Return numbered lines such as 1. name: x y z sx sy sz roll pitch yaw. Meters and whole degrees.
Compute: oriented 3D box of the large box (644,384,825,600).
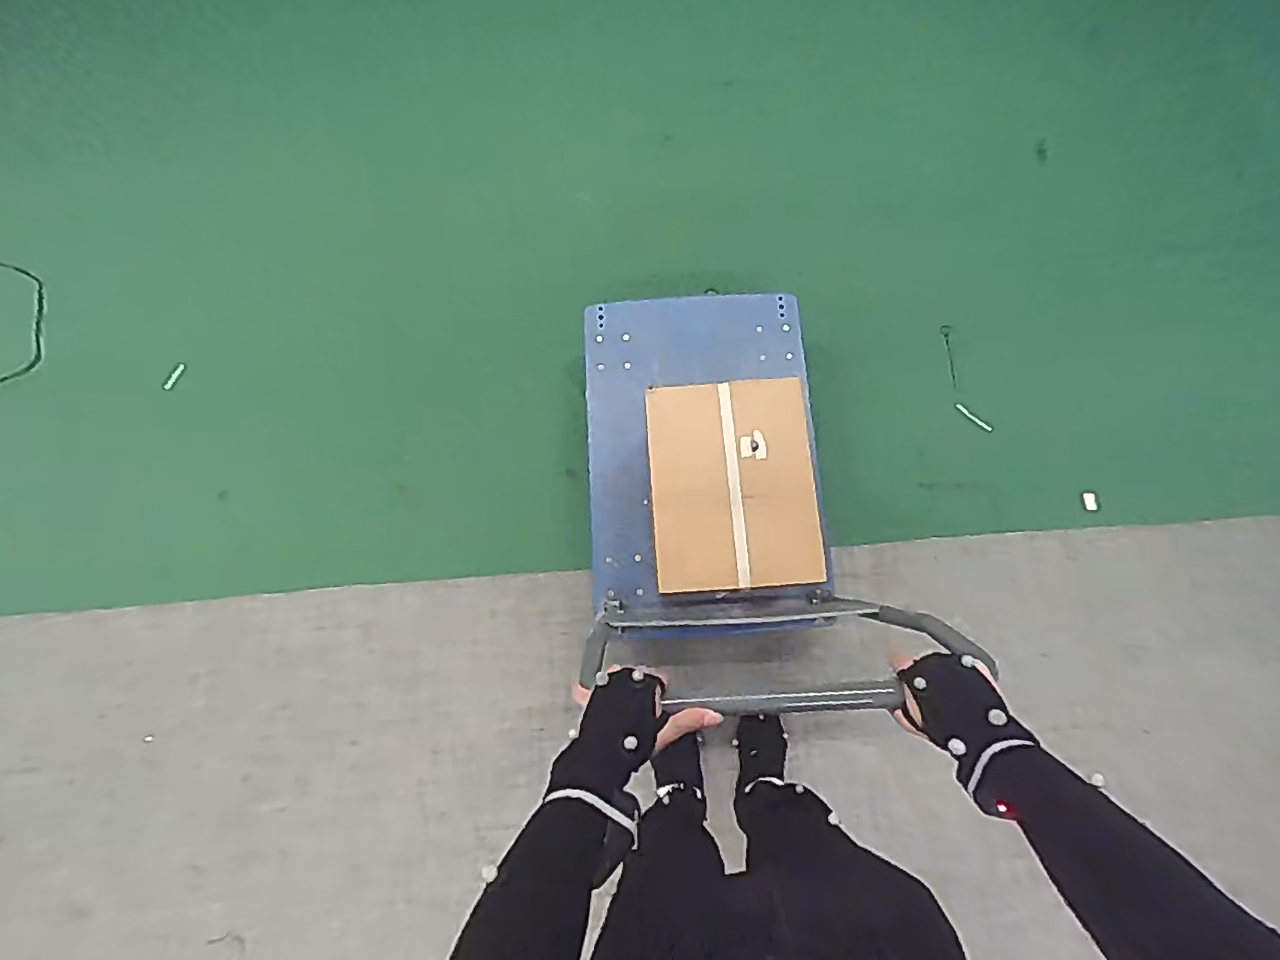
1. large box: 0.181 0.045 1.185 0.320 0.320 0.408 -4 77 0
